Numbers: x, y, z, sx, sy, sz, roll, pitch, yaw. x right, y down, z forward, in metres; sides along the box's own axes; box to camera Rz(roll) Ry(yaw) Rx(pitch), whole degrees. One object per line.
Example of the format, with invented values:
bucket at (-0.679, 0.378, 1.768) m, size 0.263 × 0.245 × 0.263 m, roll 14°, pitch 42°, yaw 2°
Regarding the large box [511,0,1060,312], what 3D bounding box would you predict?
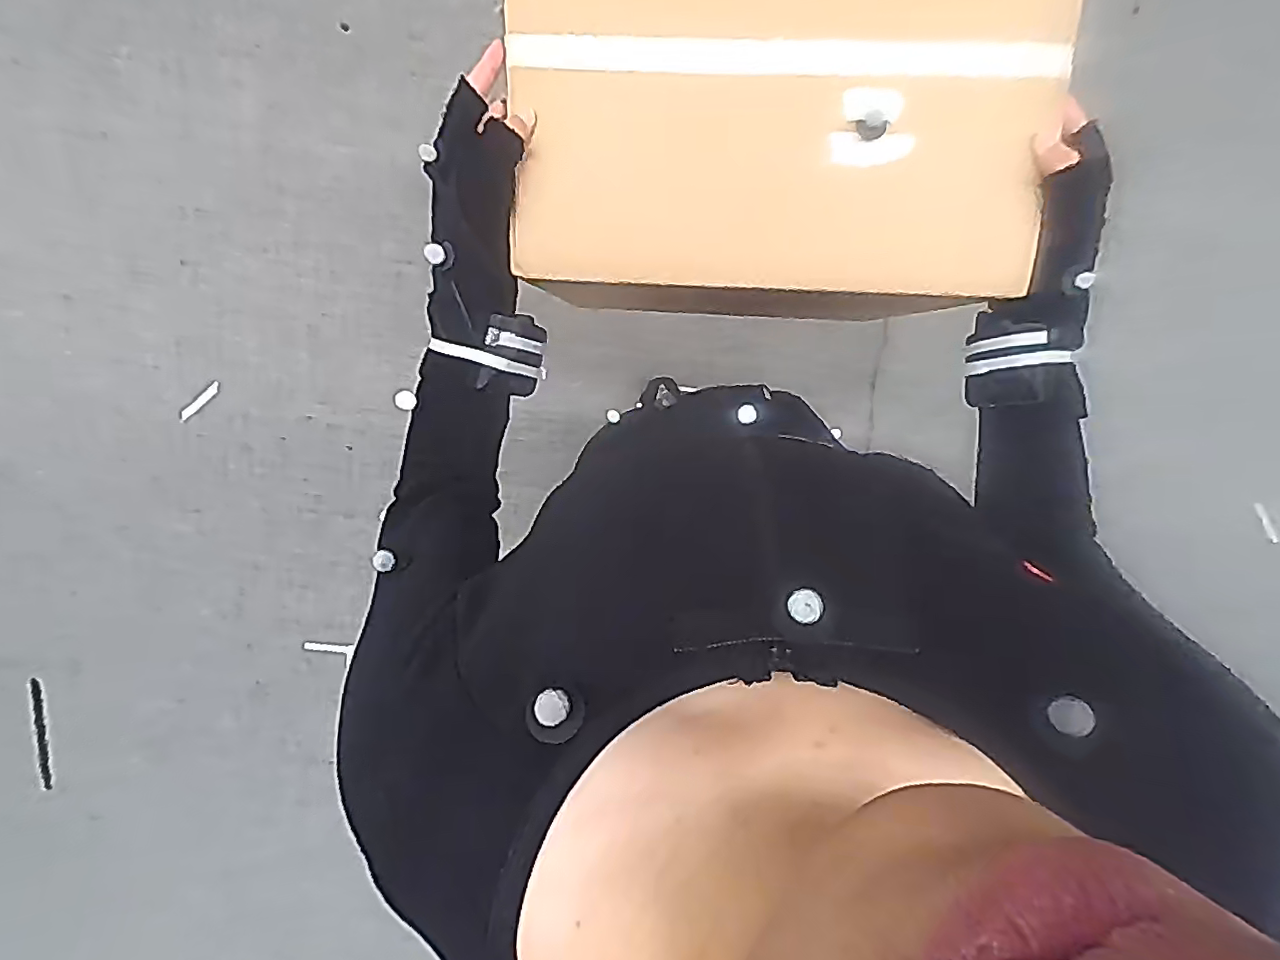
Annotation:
large box at (0.105, -0.345, 0.548) m, size 0.408 × 0.320 × 0.320 m, roll 2°, pitch 103°, yaw 1°
